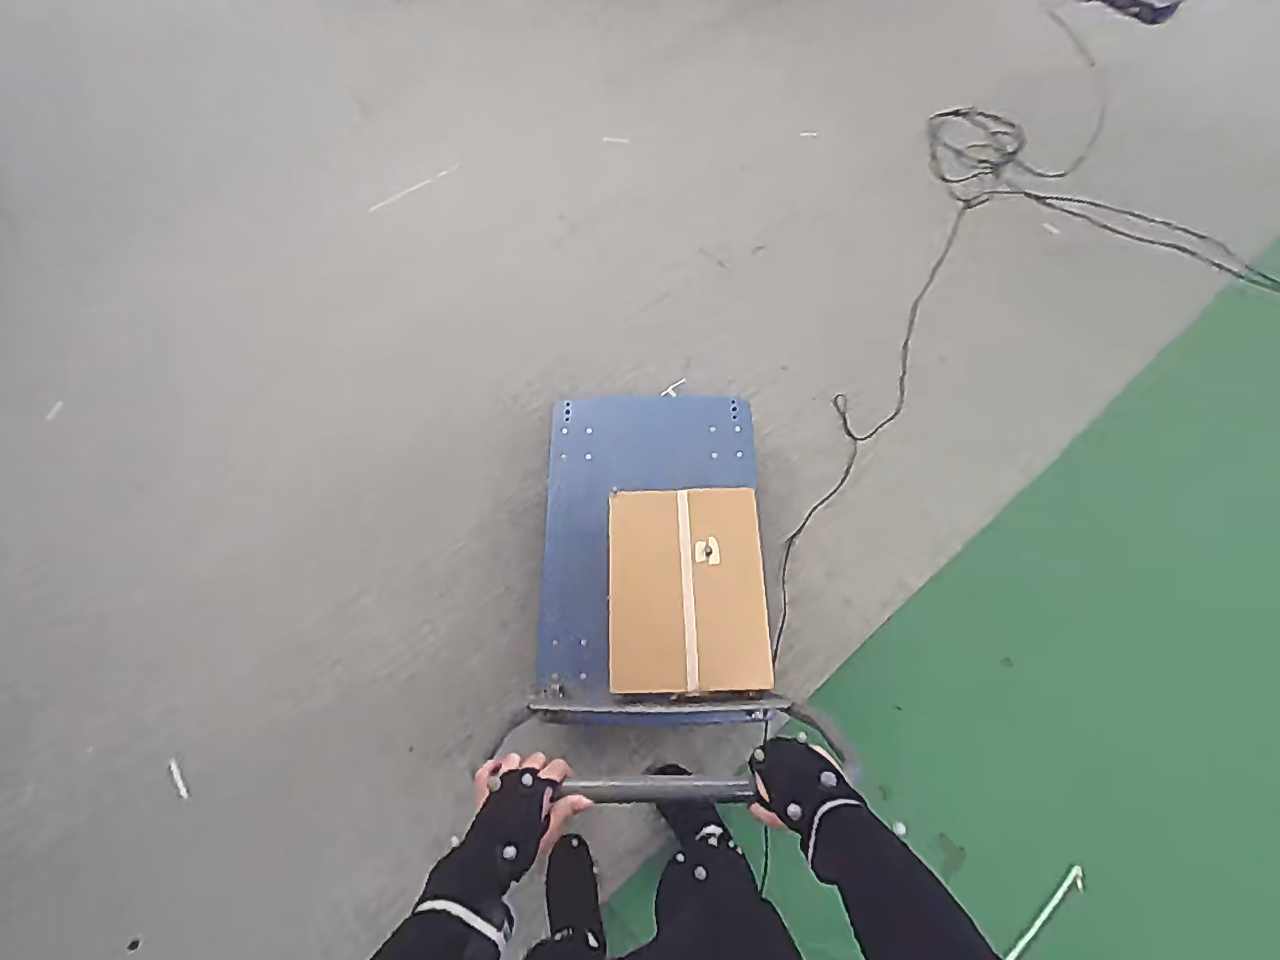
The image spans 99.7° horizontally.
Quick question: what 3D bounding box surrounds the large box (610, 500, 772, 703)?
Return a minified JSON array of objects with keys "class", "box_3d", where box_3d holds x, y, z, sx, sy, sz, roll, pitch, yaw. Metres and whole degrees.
[{"class":"large box","box_3d":[0.098,0.289,1.244,0.320,0.320,0.408,-1,69,0]}]
